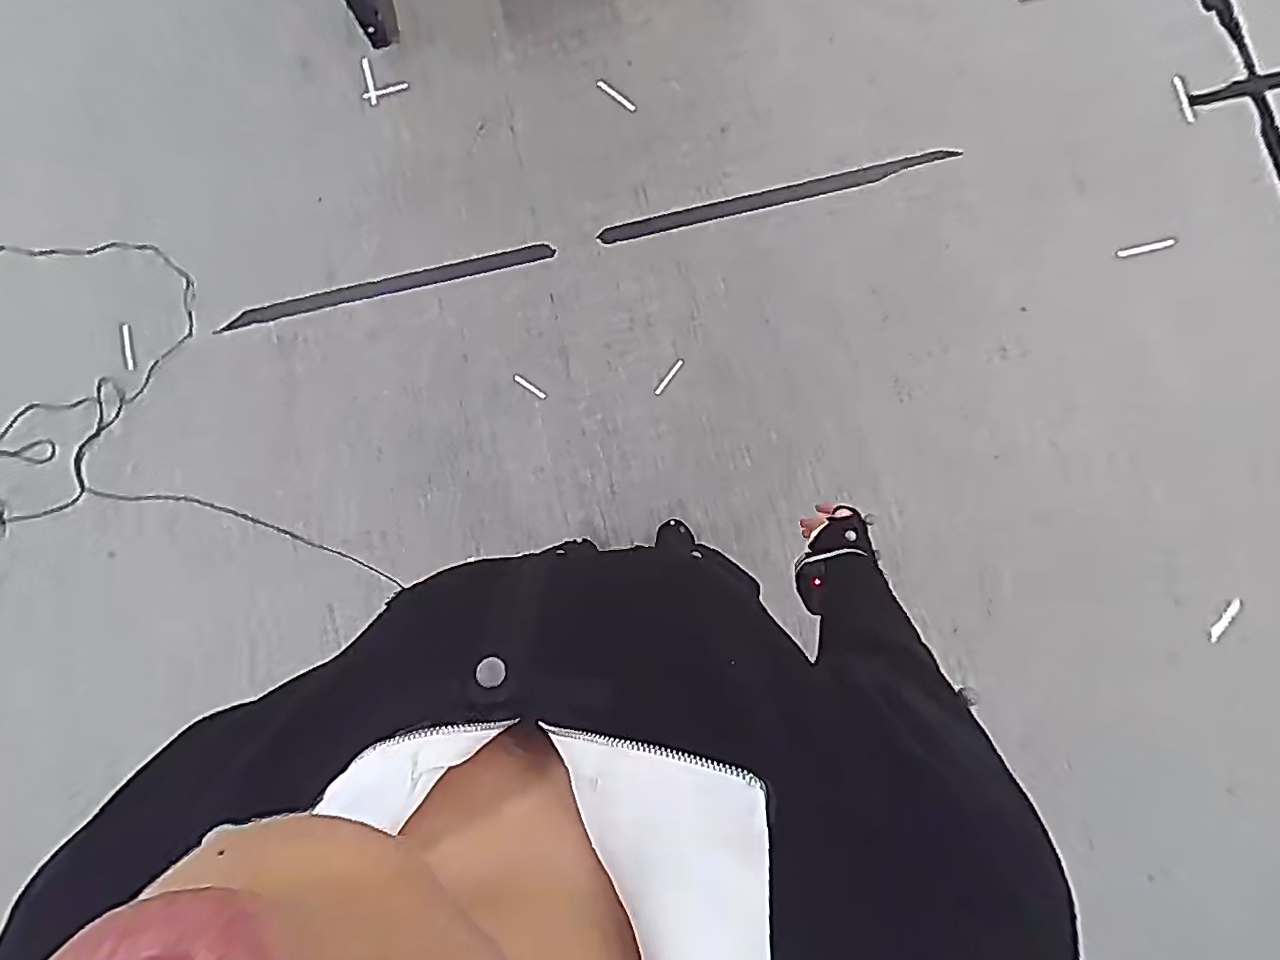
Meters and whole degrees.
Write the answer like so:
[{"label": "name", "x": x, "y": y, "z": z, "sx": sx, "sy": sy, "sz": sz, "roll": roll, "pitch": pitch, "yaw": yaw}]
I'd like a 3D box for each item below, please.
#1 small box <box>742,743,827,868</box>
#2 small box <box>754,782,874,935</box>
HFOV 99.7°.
[{"label": "small box", "x": 0.343, "y": 0.744, "z": 1.251, "sx": 0.168, "sy": 0.176, "sz": 0.179, "roll": -13, "pitch": 86, "yaw": 2}, {"label": "small box", "x": 0.339, "y": 0.749, "z": 1.086, "sx": 0.168, "sy": 0.176, "sz": 0.179, "roll": -15, "pitch": 86, "yaw": 2}]
